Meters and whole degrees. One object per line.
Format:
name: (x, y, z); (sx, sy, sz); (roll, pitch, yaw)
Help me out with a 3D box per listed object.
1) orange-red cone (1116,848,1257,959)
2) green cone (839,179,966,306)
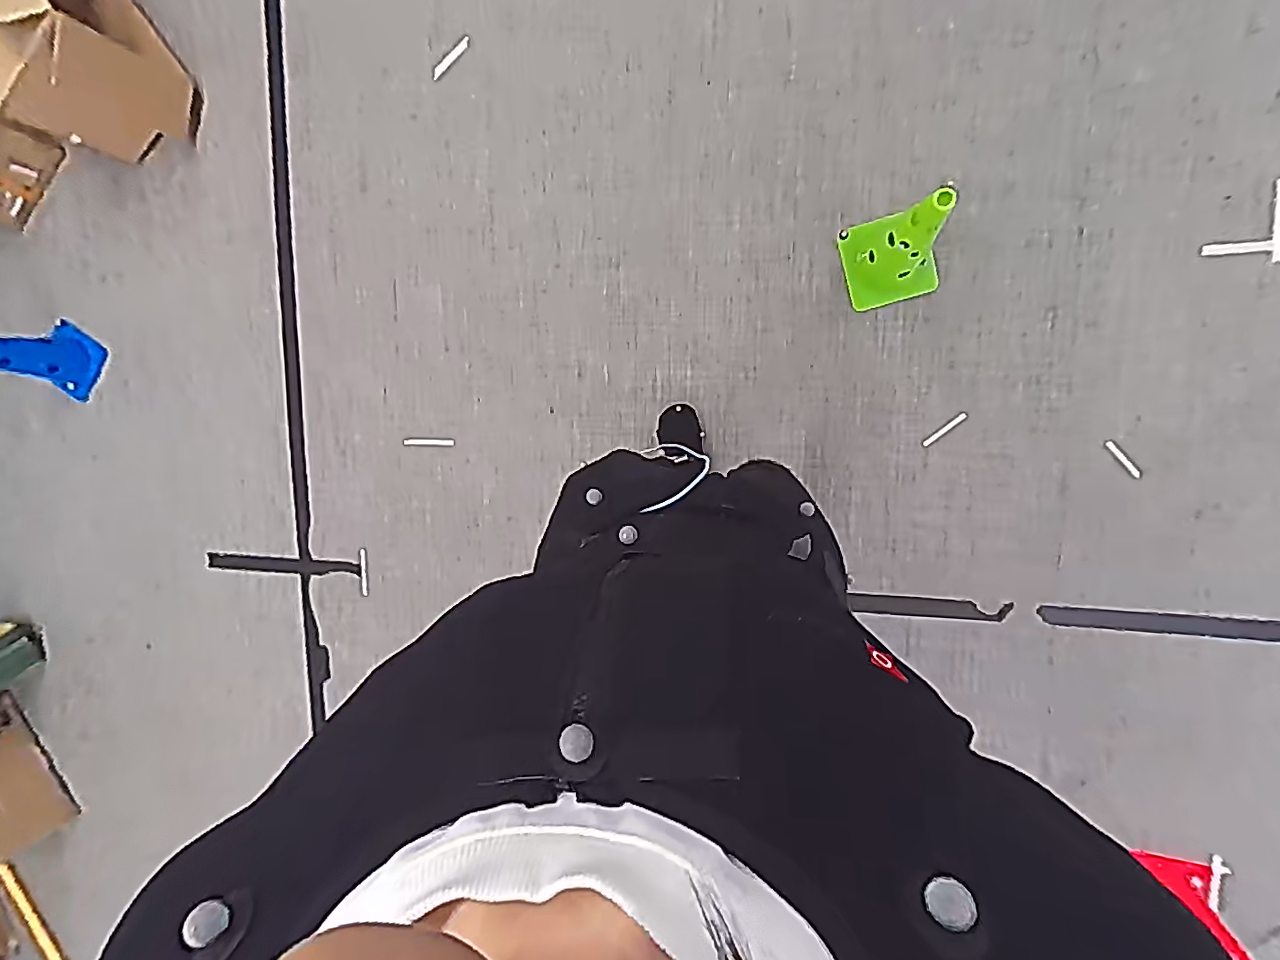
orange-red cone: (1.261, 1.024, 1.154); (0.199, 0.360, 0.198); (9, 96, 10)
green cone: (0.568, -0.516, 1.117); (0.202, 0.368, 0.200); (-15, 94, 9)
